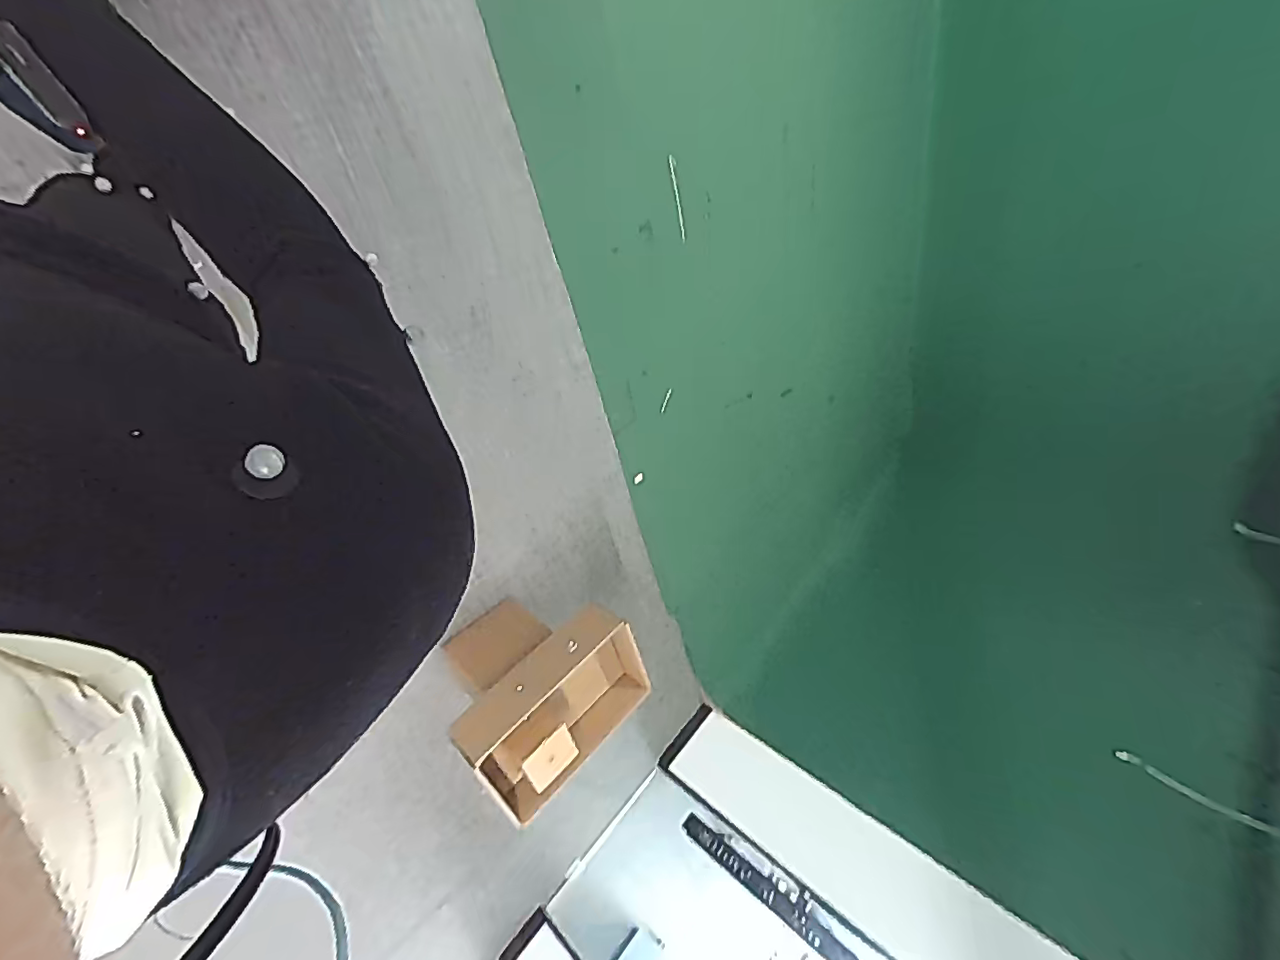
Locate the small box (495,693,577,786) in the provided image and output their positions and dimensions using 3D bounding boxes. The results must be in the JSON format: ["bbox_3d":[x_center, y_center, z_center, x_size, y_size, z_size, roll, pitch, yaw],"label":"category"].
[{"bbox_3d":[-0.334,0.823,1.731,0.168,0.176,0.179,-37,130,-30],"label":"small box"}]
